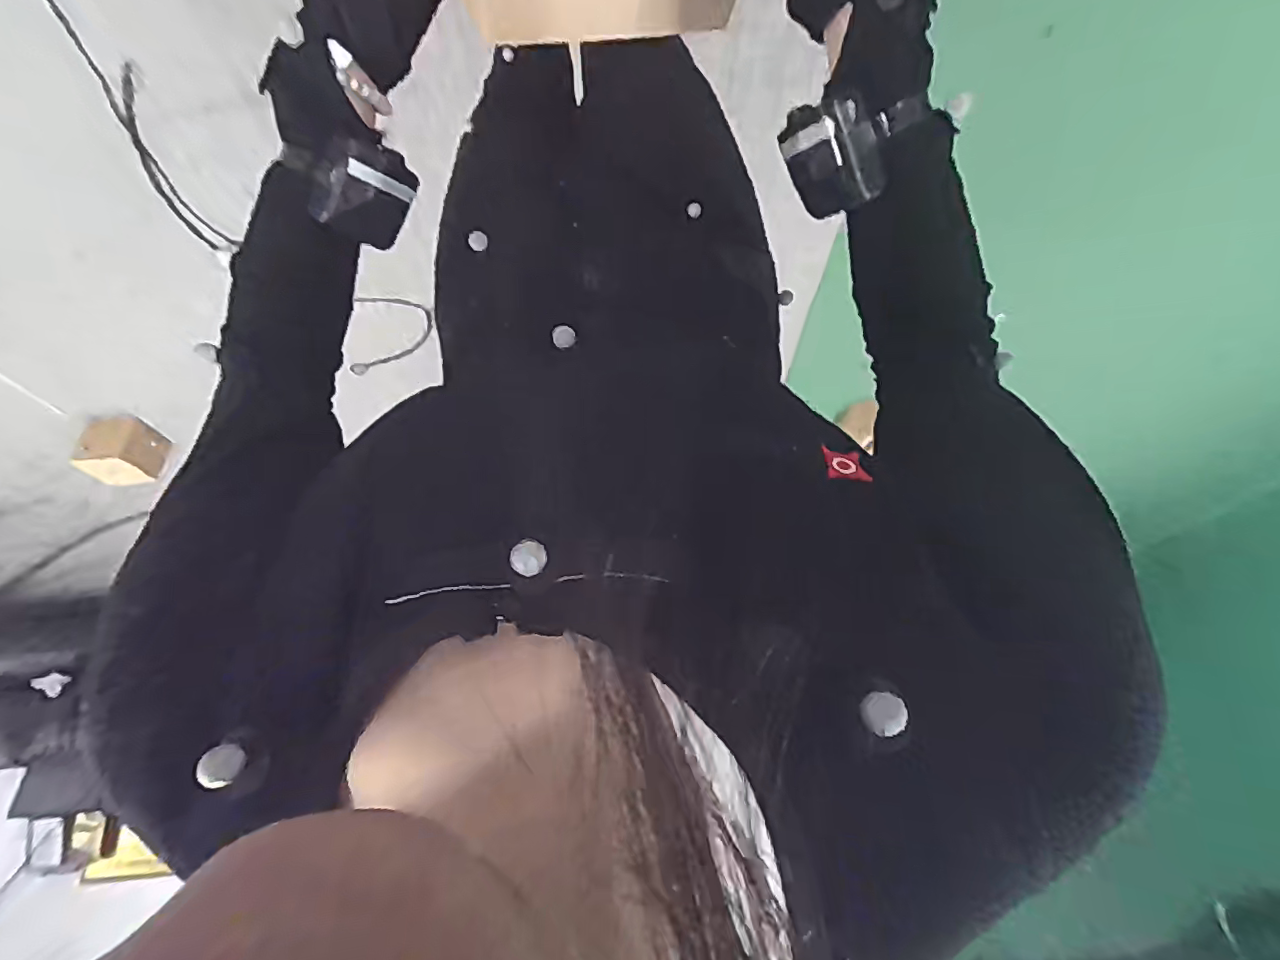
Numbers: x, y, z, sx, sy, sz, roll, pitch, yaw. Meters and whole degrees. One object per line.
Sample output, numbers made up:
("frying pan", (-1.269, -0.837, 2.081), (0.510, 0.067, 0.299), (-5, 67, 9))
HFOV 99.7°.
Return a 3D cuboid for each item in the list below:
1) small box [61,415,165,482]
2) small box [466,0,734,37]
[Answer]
("small box", (-1.837, -0.111, 1.898), (0.179, 0.176, 0.168), (-5, 151, -1))
("small box", (-0.031, -0.387, 0.289), (0.179, 0.176, 0.168), (-19, 166, -18))
